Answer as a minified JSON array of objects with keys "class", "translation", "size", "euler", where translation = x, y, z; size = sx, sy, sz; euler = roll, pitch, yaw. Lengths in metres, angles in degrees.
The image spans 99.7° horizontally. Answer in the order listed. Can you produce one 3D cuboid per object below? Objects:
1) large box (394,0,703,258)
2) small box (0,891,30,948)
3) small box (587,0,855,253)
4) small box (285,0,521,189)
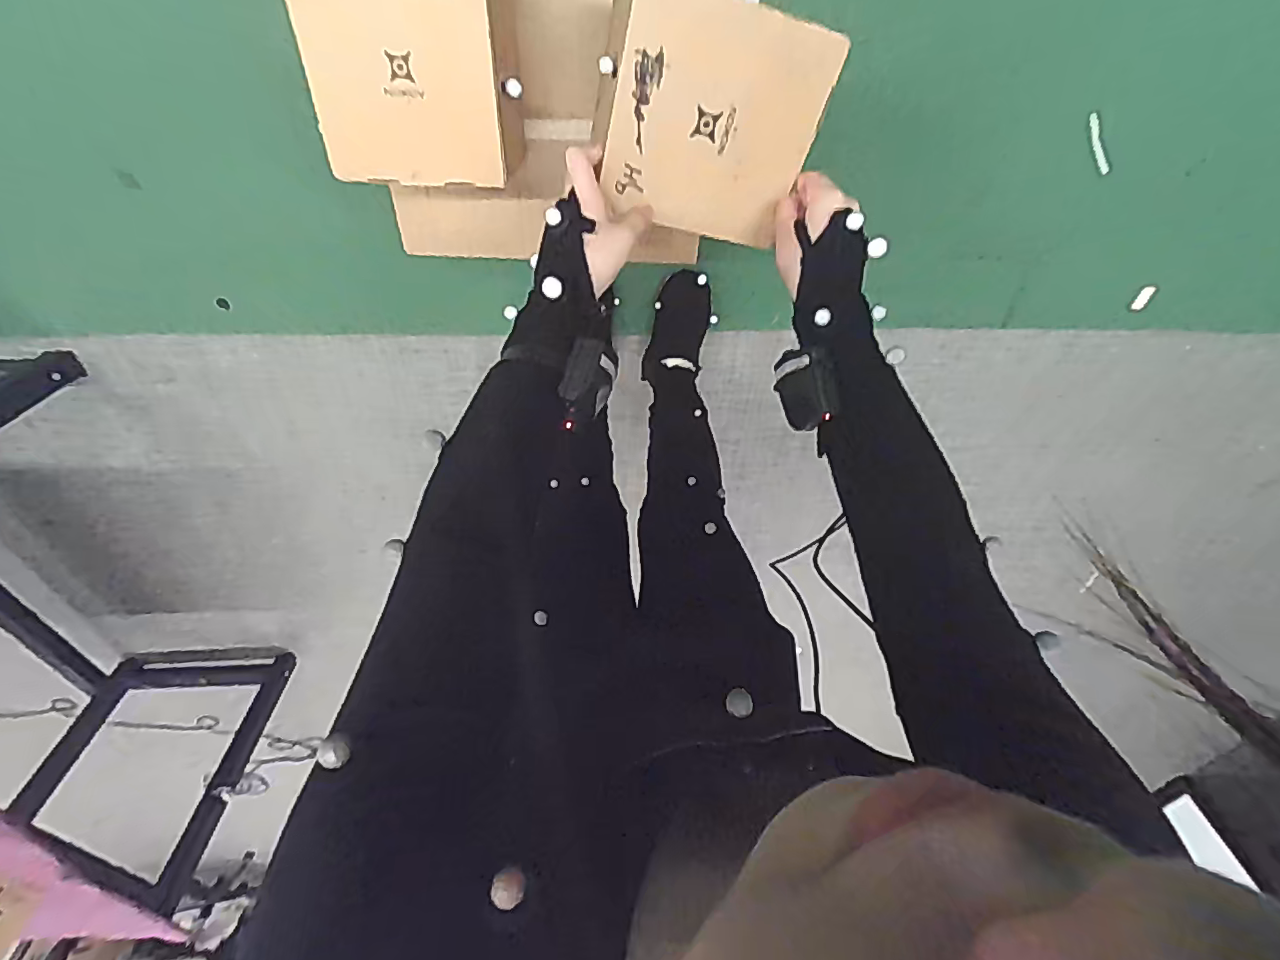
[{"class":"large box","translation":[-0.118,-0.519,0.760],"size":[0.408,0.320,0.320],"euler":[0,130,-3]},{"class":"small box","translation":[-1.281,0.829,0.956],"size":[0.179,0.176,0.168],"euler":[-1,130,0]},{"class":"small box","translation":[0.053,-0.336,0.498],"size":[0.179,0.176,0.168],"euler":[7,130,-14]},{"class":"small box","translation":[-0.214,-0.404,0.535],"size":[0.168,0.176,0.179],"euler":[1,128,-4]}]
